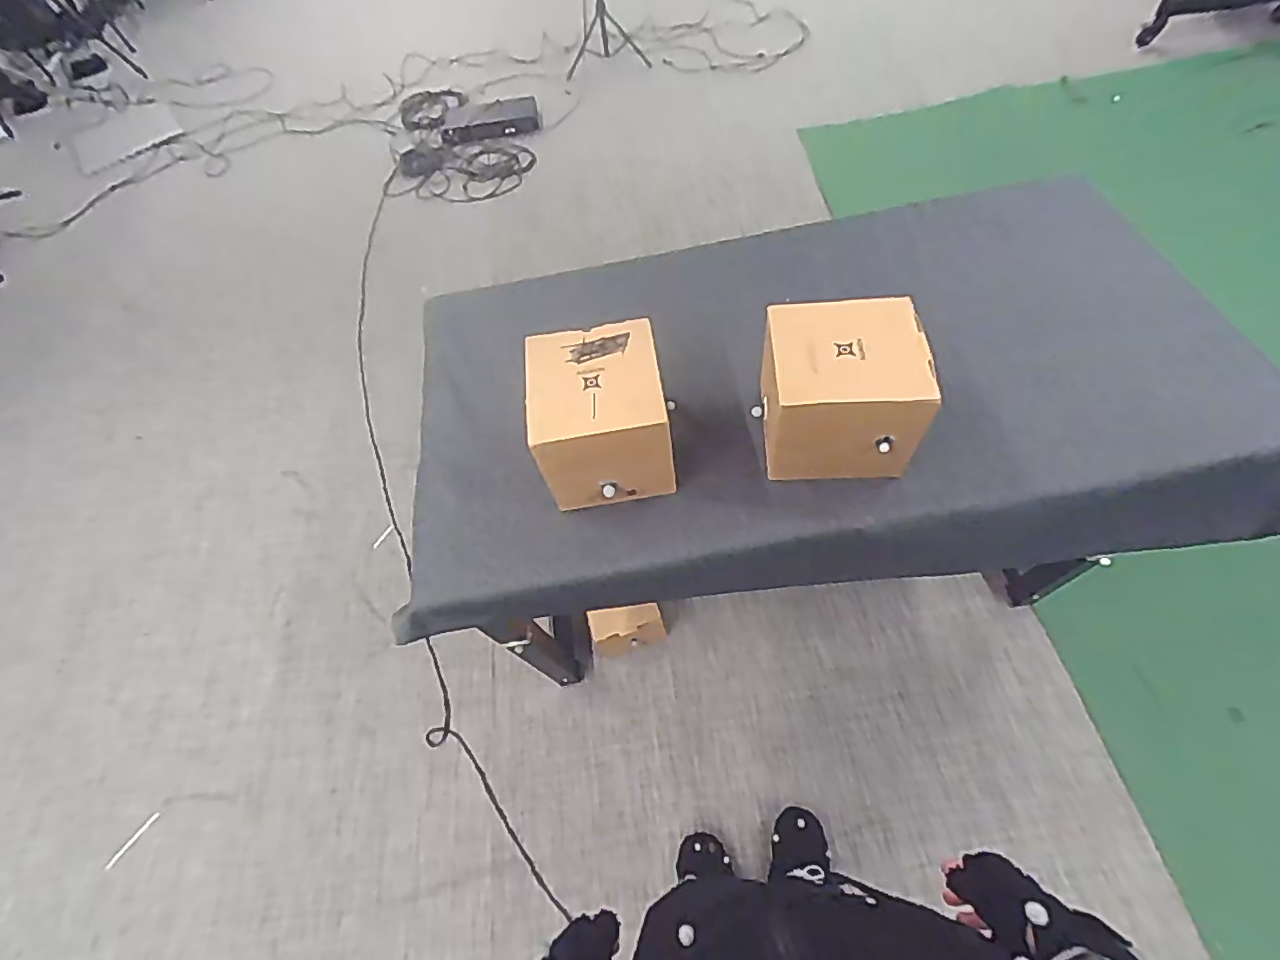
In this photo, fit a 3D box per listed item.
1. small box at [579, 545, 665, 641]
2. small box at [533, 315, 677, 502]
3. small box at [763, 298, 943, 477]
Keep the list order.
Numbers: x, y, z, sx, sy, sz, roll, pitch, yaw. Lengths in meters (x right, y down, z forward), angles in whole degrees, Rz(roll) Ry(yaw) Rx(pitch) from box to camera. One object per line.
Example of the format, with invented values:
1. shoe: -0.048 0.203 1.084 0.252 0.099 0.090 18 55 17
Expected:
1. small box: -0.041 0.293 1.361 0.168 0.176 0.179 -18 61 -3
2. small box: -0.043 -0.091 0.732 0.168 0.176 0.179 -8 60 3
3. small box: 0.261 -0.114 0.709 0.179 0.176 0.168 -2 60 8
